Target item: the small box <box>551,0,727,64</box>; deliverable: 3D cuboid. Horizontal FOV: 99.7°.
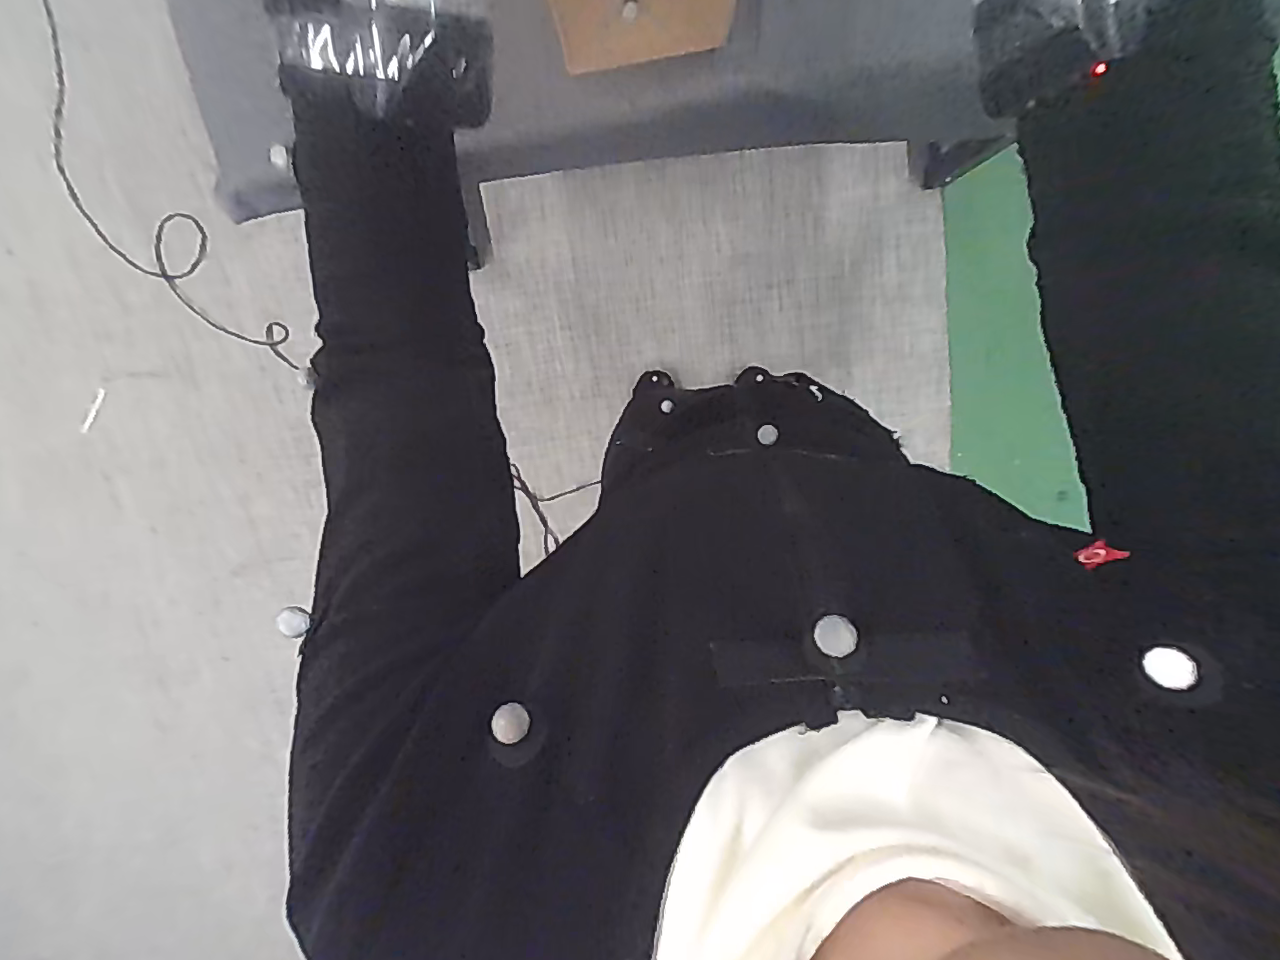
[{"bbox_3d":[-0.008,-0.527,0.499,0.179,0.176,0.168,-8,101,3],"label":"small box"}]
